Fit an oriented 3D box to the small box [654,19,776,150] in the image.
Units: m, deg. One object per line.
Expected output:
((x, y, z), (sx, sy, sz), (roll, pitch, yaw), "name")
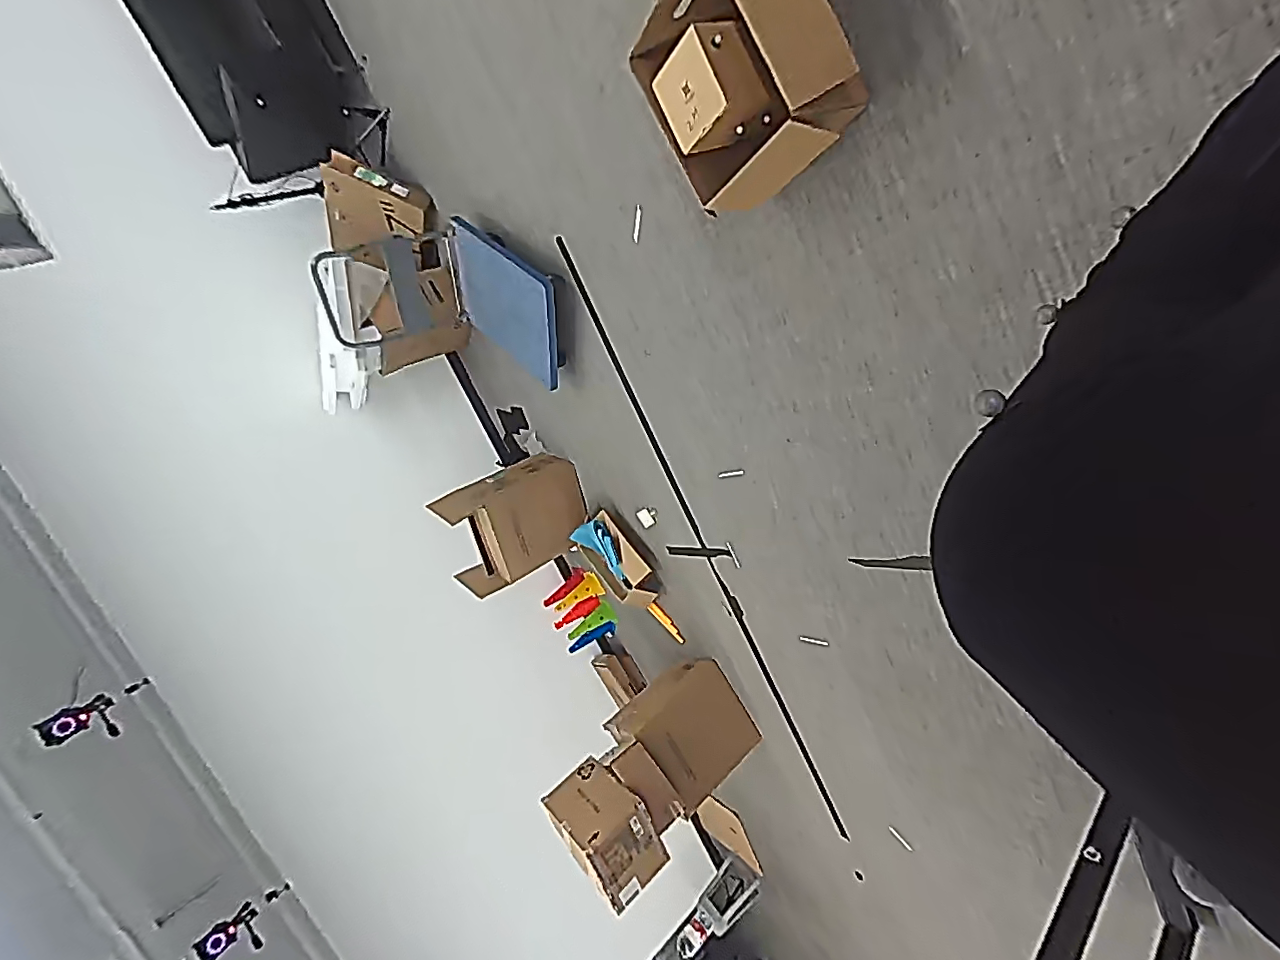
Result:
((0.169, -0.884, 1.213), (0.168, 0.176, 0.179), (-14, 105, 61), "small box")
